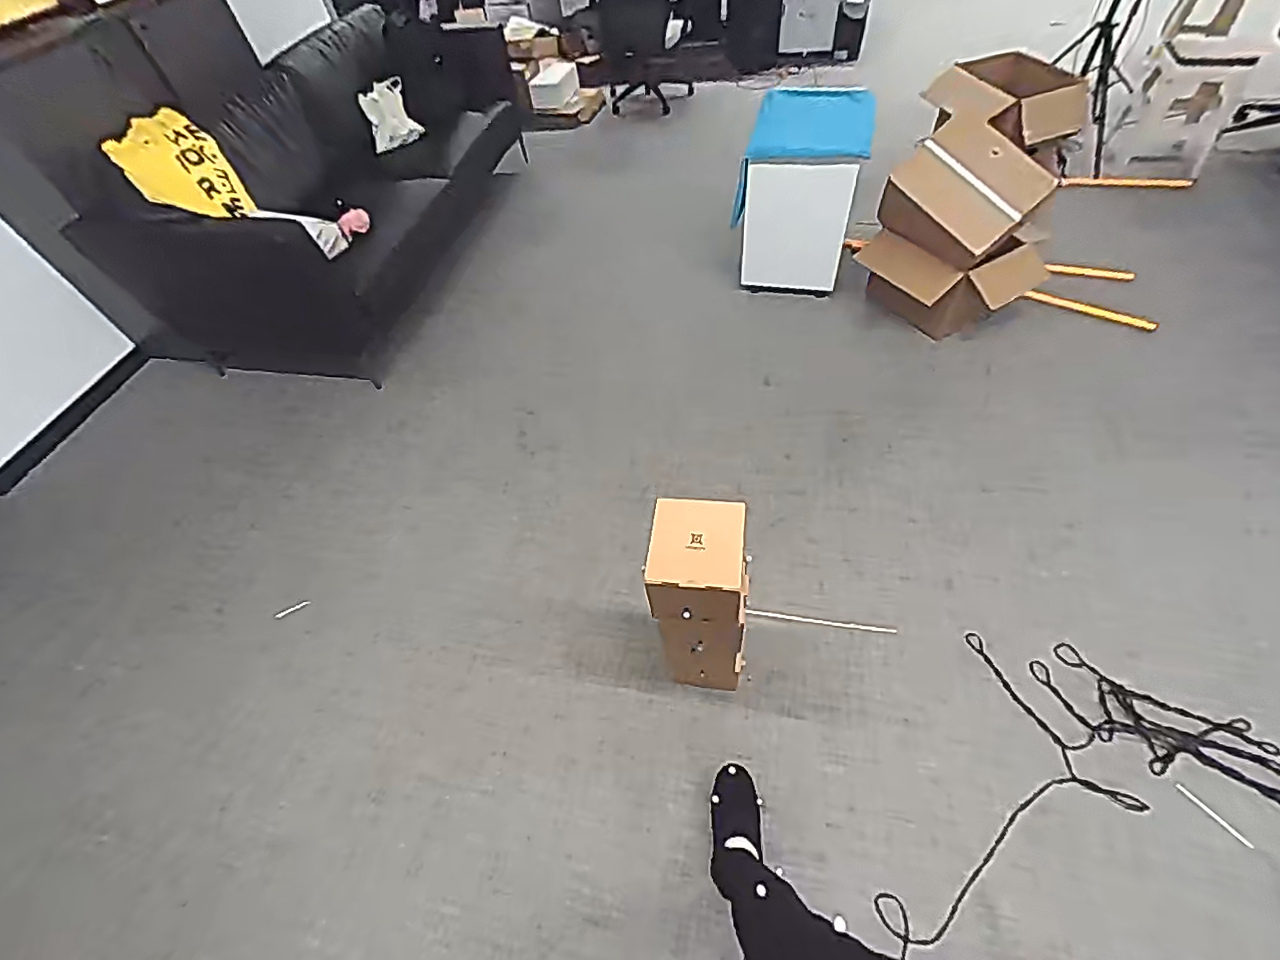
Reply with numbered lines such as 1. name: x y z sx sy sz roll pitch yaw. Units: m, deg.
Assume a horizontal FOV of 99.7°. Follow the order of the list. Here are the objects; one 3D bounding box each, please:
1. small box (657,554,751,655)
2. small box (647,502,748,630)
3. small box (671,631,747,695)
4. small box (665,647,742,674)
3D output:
1. small box: 0.138 0.259 1.144 0.179 0.176 0.168 3 53 10
2. small box: 0.112 0.161 1.015 0.168 0.176 0.179 3 54 11
3. small box: 0.183 0.447 1.409 0.179 0.176 0.168 5 53 11
4. small box: 0.155 0.346 1.282 0.179 0.176 0.168 5 54 12
